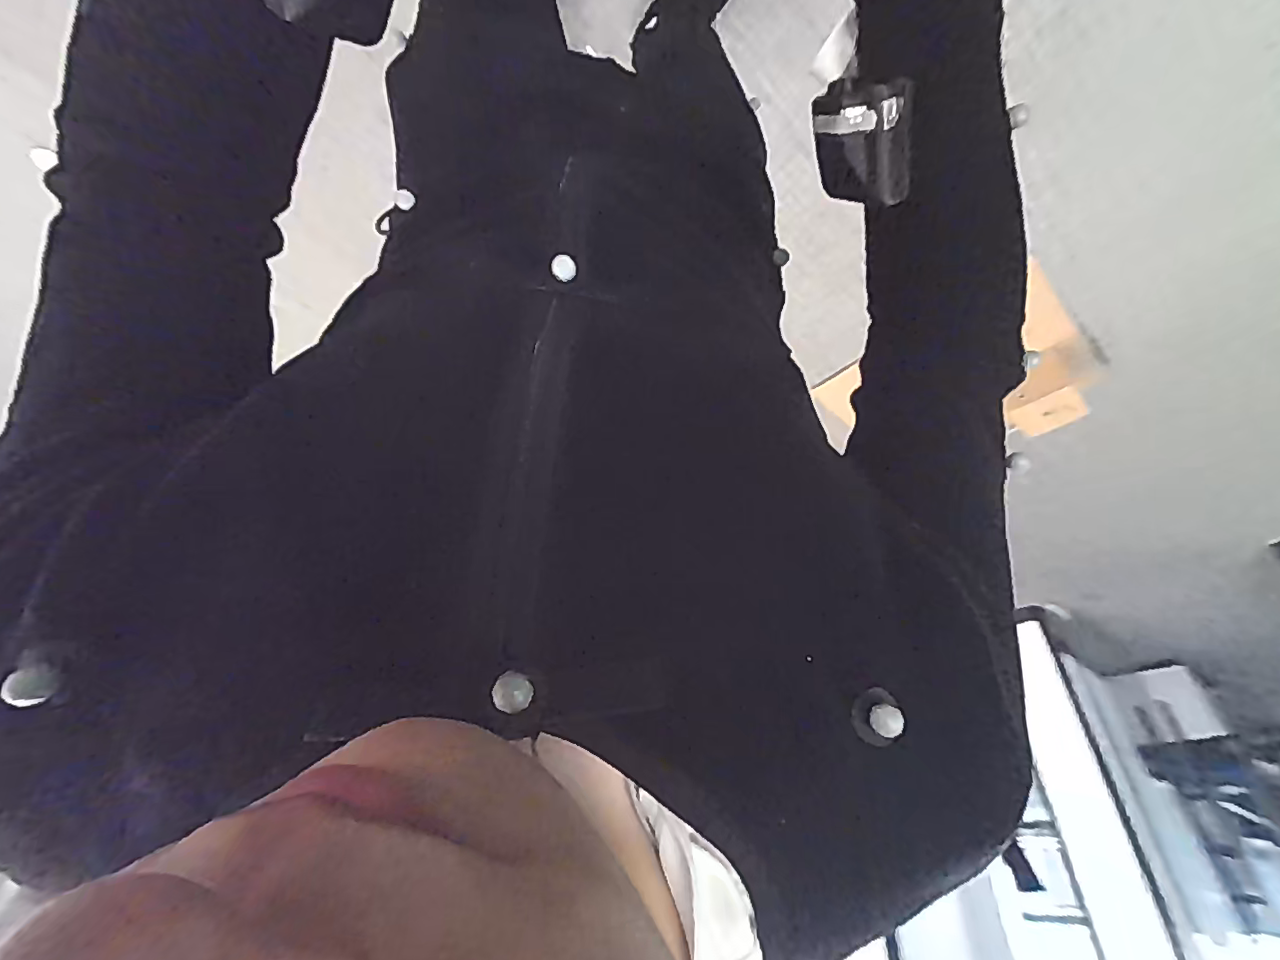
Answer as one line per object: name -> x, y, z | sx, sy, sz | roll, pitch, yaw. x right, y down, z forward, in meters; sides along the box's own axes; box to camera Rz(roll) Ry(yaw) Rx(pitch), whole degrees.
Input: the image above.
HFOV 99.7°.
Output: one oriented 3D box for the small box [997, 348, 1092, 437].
small box -> 1.247, -0.271, 1.681 | 0.168, 0.176, 0.179 | 32, 134, -30
